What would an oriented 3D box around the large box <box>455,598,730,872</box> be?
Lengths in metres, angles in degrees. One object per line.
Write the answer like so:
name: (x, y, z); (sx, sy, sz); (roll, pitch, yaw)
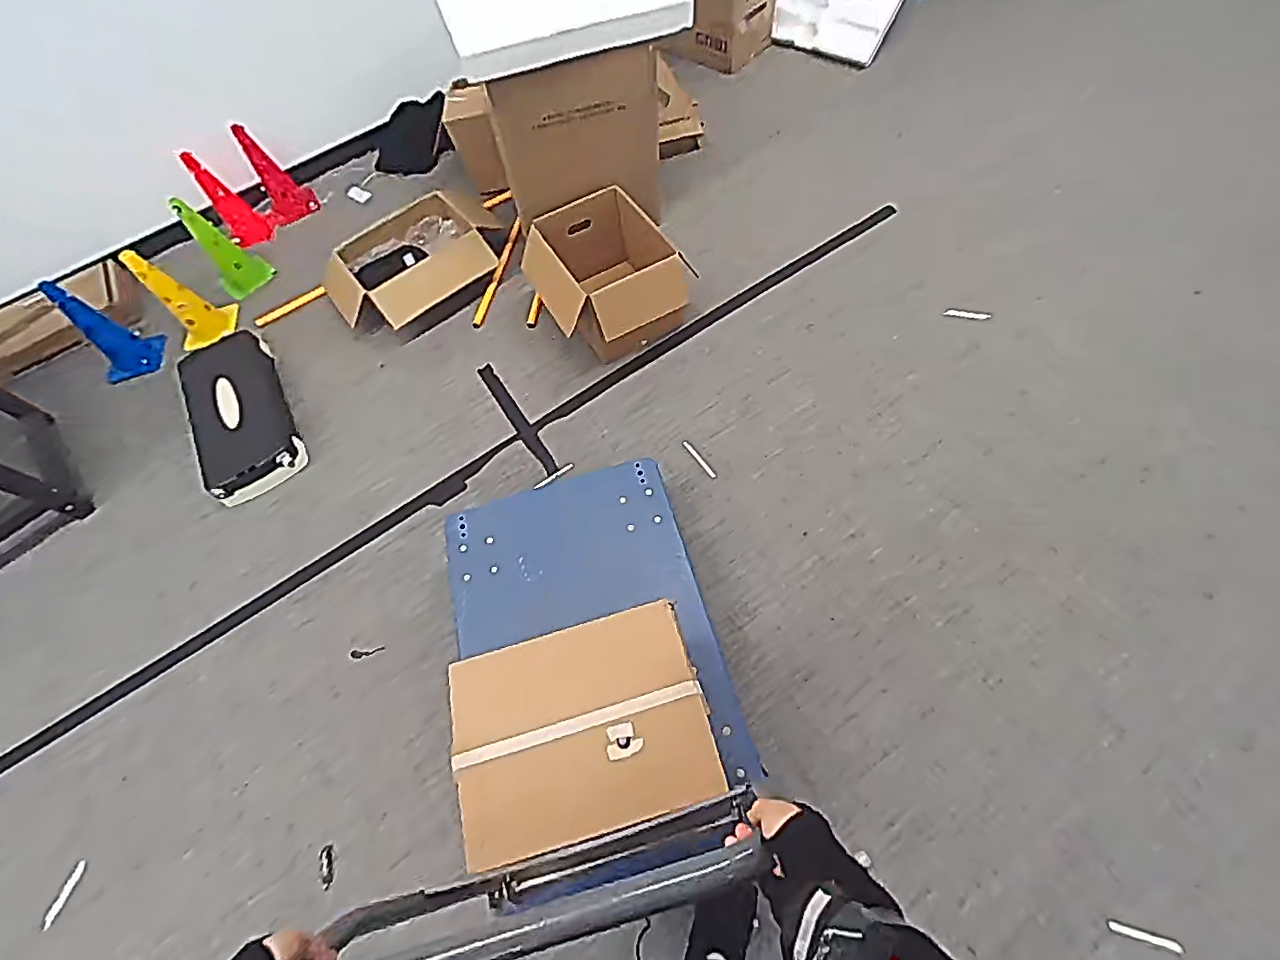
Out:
large box: (-0.078, 0.468, 1.007); (0.408, 0.320, 0.320); (-17, 61, -3)
